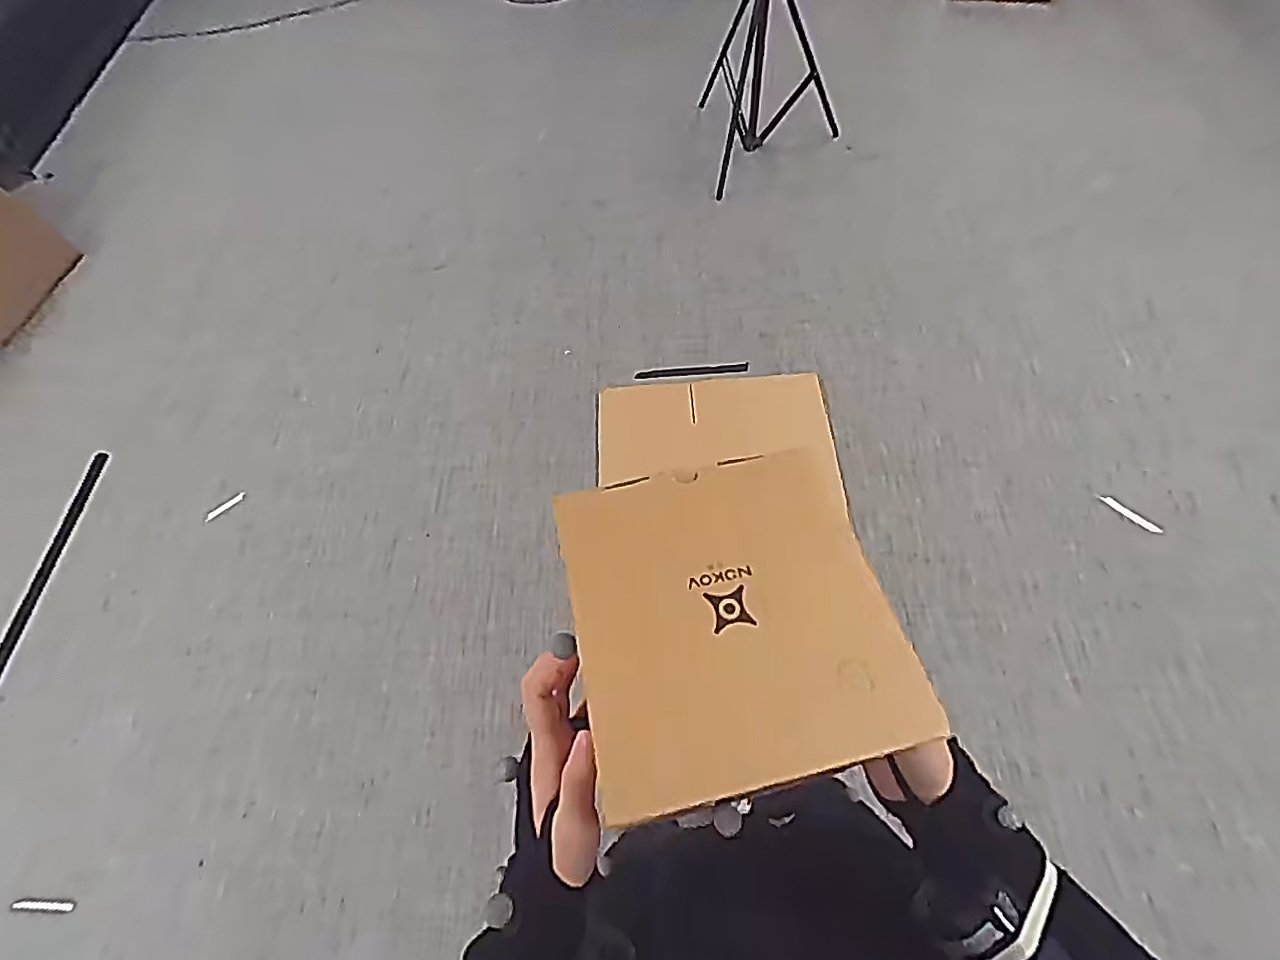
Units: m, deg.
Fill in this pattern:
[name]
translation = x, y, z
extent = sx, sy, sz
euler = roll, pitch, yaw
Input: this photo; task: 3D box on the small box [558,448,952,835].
[small box]
translation = 0.051, 0.110, 0.351
extent = 0.168, 0.176, 0.179
euler = -12, 56, -6
